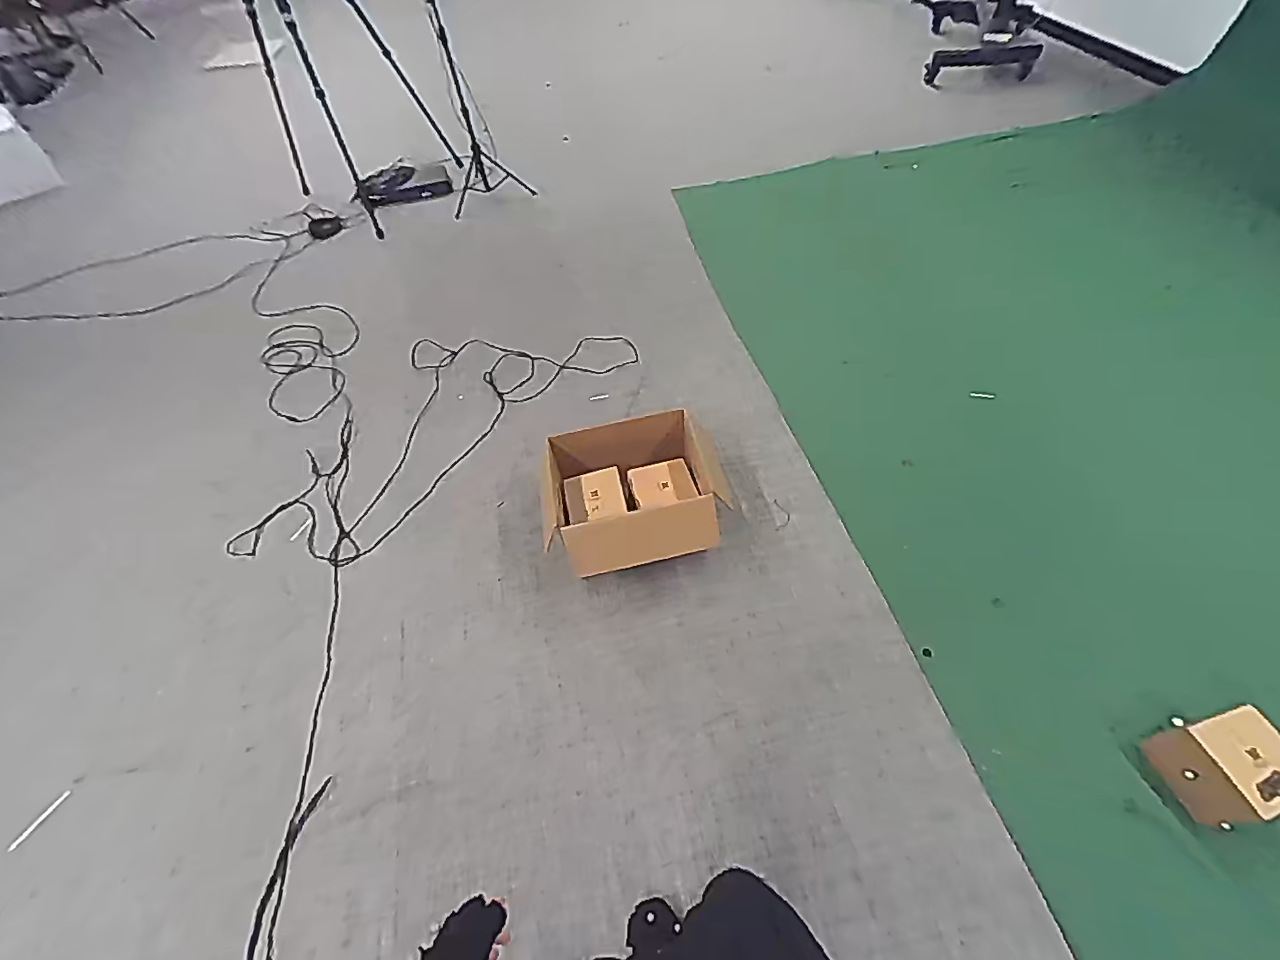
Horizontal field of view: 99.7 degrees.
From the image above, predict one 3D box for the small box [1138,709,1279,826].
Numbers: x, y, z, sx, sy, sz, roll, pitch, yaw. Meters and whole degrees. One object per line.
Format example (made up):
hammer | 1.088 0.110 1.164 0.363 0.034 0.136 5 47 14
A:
small box | 1.242 0.615 1.148 0.168 0.176 0.179 -15 53 -6
